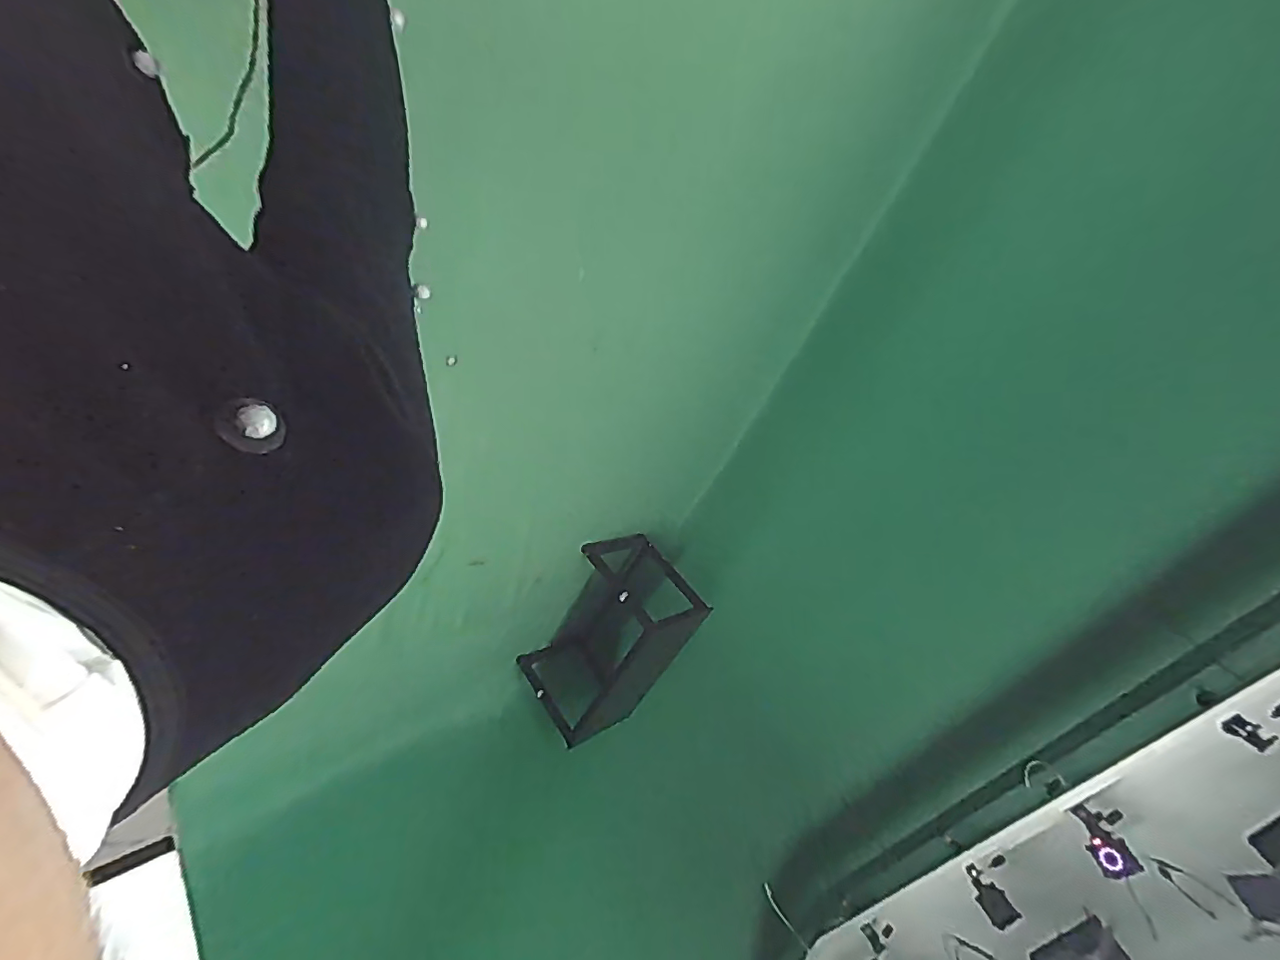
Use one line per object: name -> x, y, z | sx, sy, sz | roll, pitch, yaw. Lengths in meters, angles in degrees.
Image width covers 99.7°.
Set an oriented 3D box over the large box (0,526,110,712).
large box -> -1.726, 0.395, 1.387 | 0.408, 0.320, 0.320 | -33, 151, -20
